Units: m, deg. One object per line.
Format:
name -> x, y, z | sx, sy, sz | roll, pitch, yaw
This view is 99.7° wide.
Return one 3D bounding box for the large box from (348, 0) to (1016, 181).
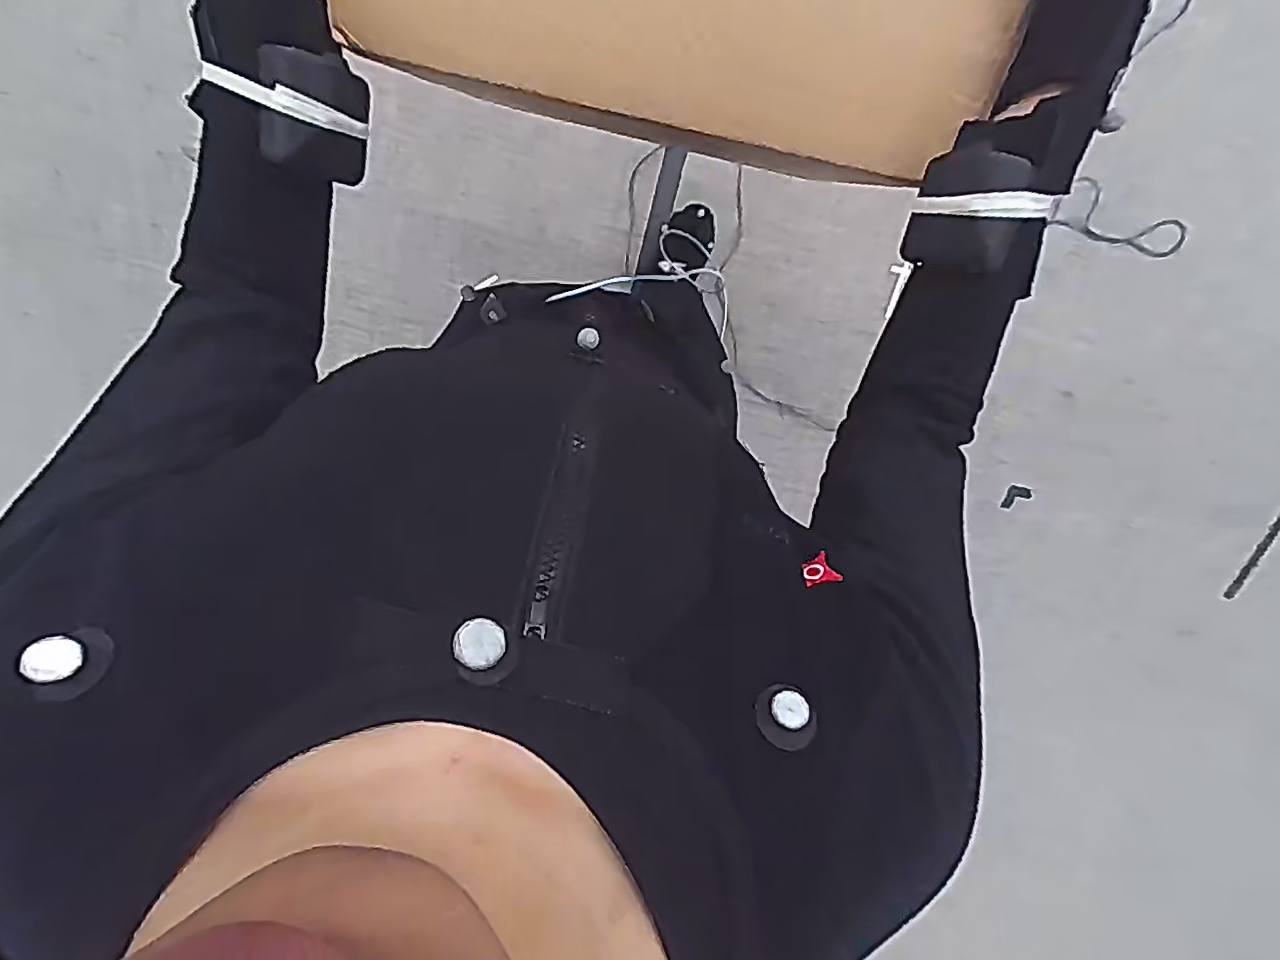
large box -> 0.040, -0.438, 0.408 | 0.408, 0.320, 0.320 | 10, 121, -5
